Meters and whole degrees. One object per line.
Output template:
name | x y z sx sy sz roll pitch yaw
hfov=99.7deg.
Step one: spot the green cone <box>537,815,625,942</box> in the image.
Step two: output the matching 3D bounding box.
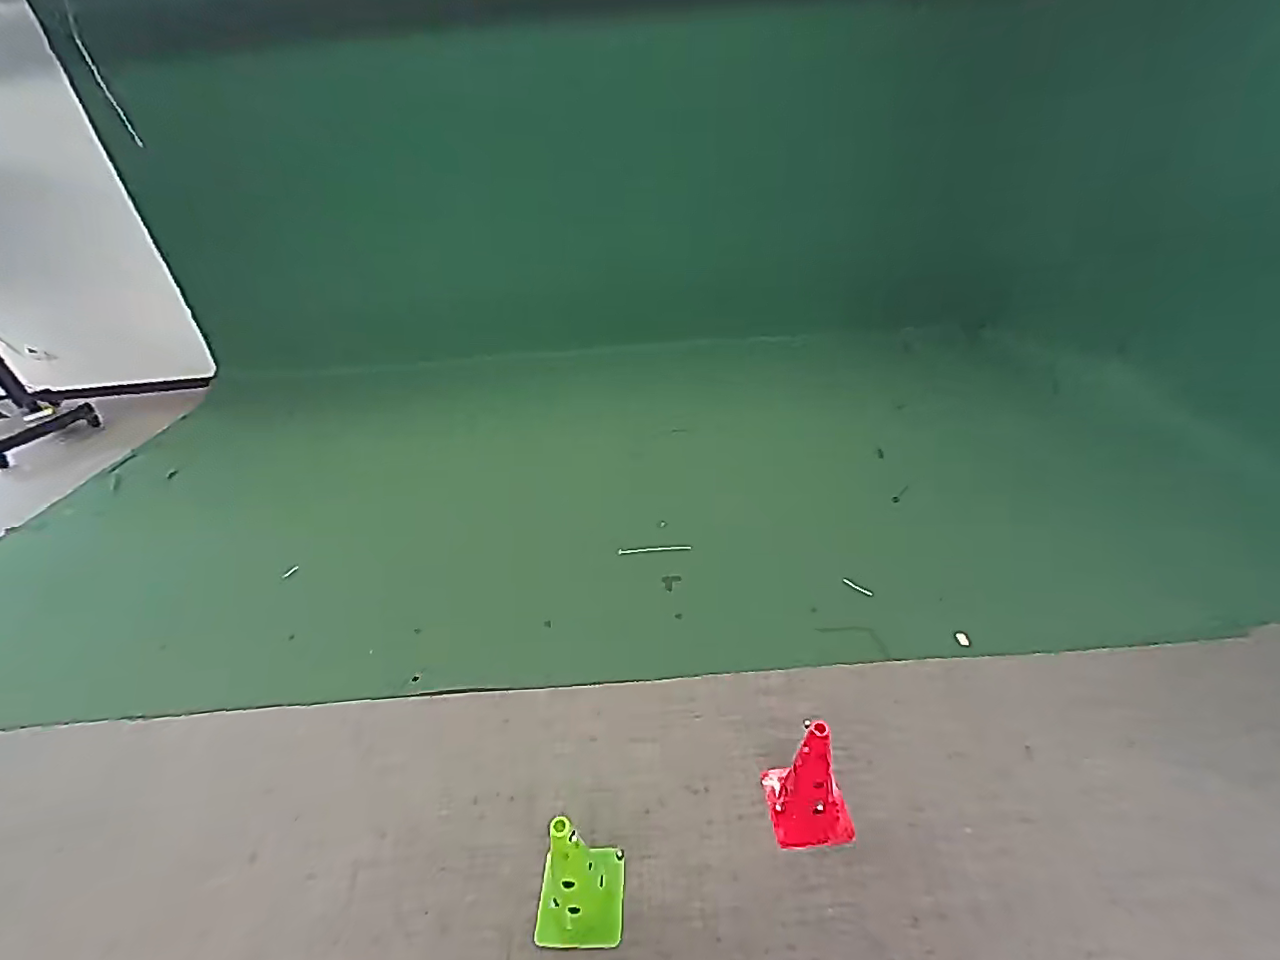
green cone | -0.152 0.848 1.207 0.200 0.368 0.202 -4 35 3
